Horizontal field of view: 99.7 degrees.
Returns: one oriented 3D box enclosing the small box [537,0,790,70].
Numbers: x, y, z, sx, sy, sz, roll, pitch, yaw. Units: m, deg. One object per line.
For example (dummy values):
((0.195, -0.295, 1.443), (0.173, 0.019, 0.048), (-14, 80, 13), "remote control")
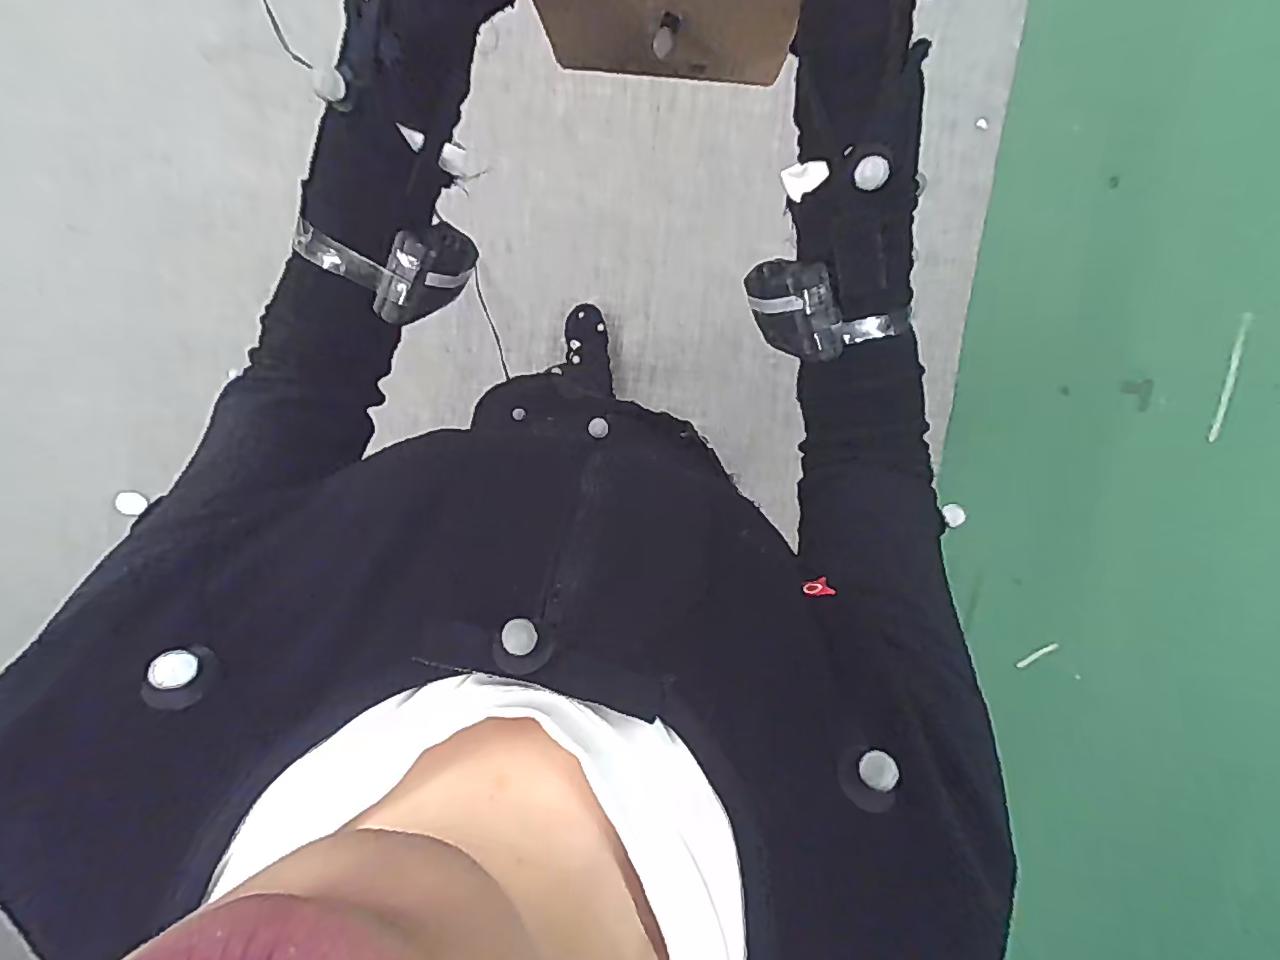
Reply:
((0.019, -0.371, 0.308), (0.168, 0.176, 0.179), (6, 107, 2), "small box")
